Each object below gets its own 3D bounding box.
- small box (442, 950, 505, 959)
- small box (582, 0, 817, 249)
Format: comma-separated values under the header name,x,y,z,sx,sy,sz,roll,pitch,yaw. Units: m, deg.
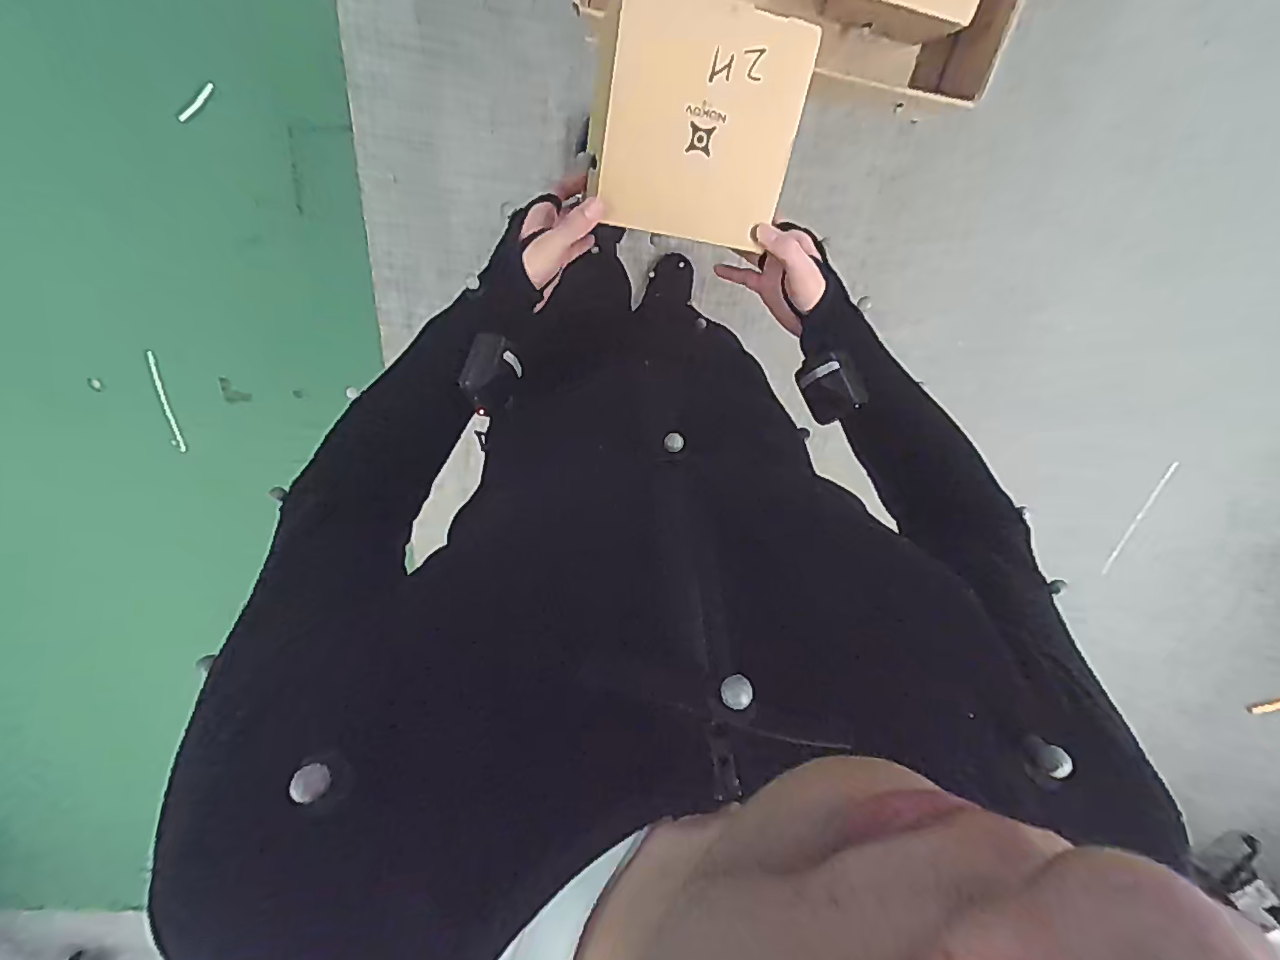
name,x,y,z,sx,sy,sz,roll,pitch,yaw
small box,-0.457,1.390,1.443,0.168,0.176,0.179,5,123,-4
small box,0.038,-0.340,0.525,0.168,0.176,0.179,5,117,-13
